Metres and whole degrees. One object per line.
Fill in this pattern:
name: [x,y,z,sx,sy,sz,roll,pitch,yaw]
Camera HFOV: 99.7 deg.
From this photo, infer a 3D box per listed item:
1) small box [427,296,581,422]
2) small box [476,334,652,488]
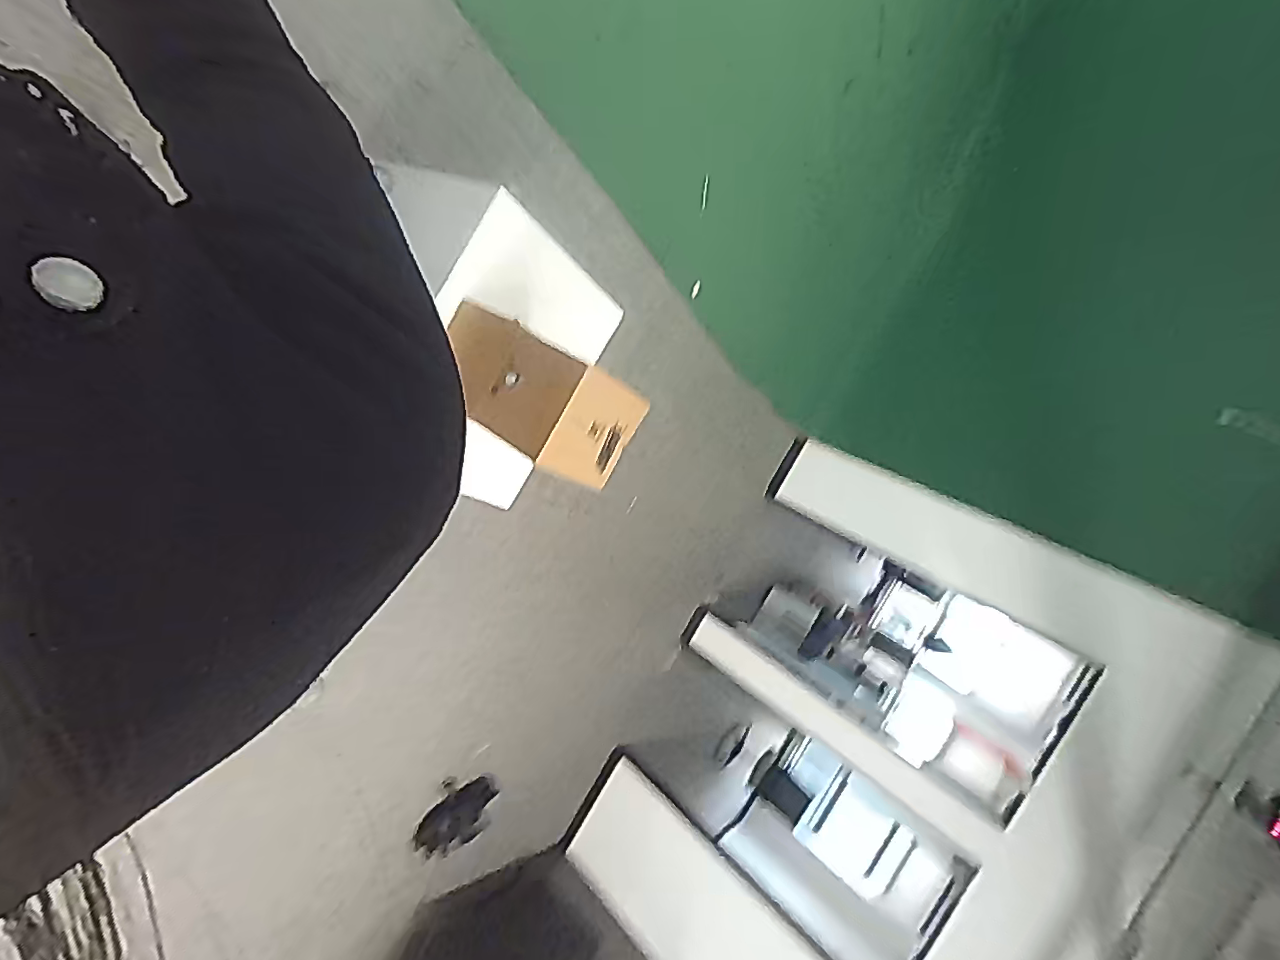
small box: [-0.238,-0.188,0.935,0.168,0.176,0.179,22,97,-57]
small box: [-0.119,-0.108,0.853,0.179,0.176,0.168,18,102,-58]
